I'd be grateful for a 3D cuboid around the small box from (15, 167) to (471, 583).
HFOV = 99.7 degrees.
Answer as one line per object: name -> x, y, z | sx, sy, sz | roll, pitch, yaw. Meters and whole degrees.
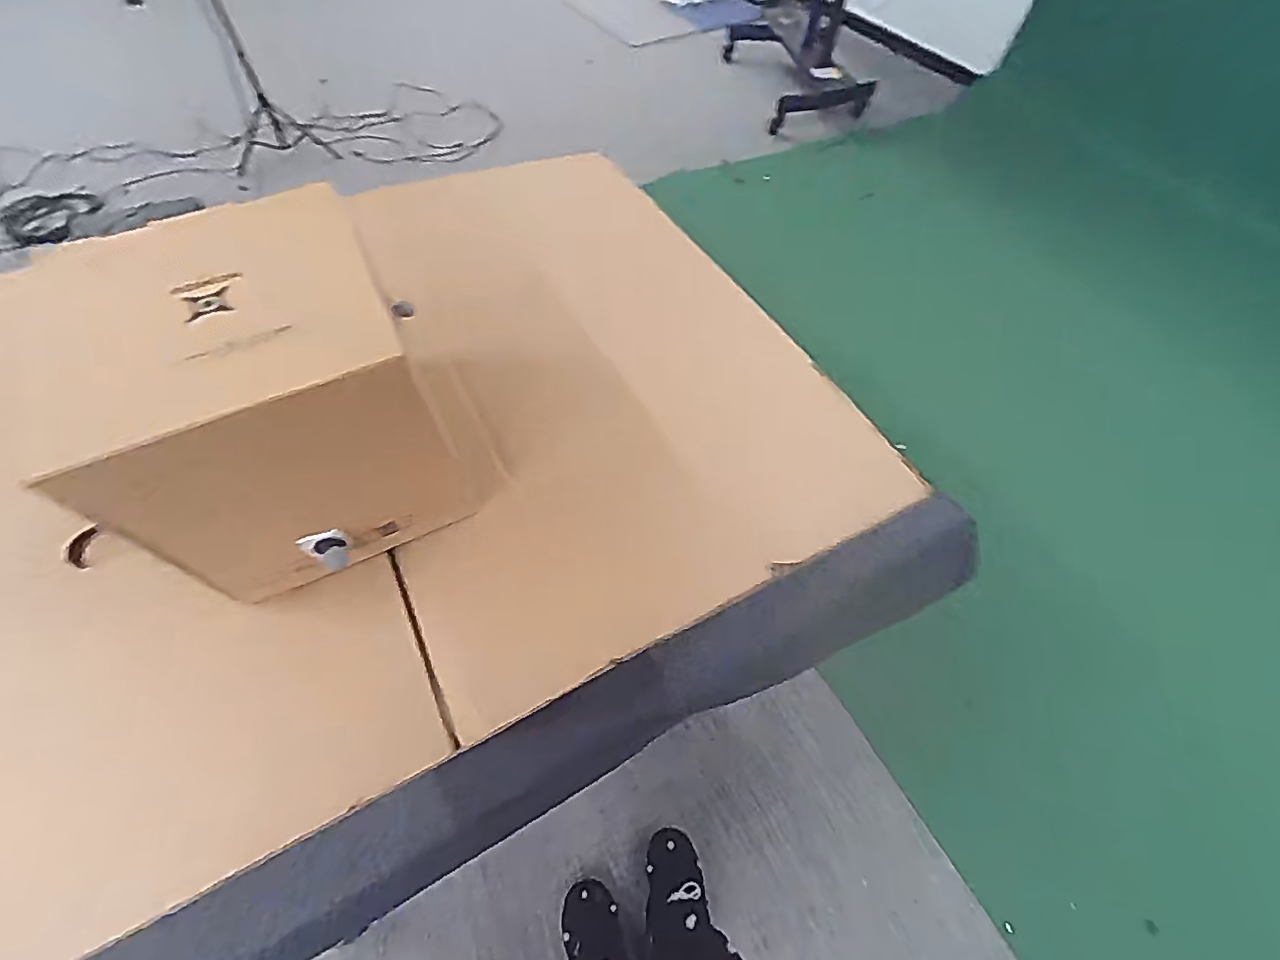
small box -> -0.231, -0.063, 0.354 | 0.168, 0.176, 0.179 | -25, 63, -16
